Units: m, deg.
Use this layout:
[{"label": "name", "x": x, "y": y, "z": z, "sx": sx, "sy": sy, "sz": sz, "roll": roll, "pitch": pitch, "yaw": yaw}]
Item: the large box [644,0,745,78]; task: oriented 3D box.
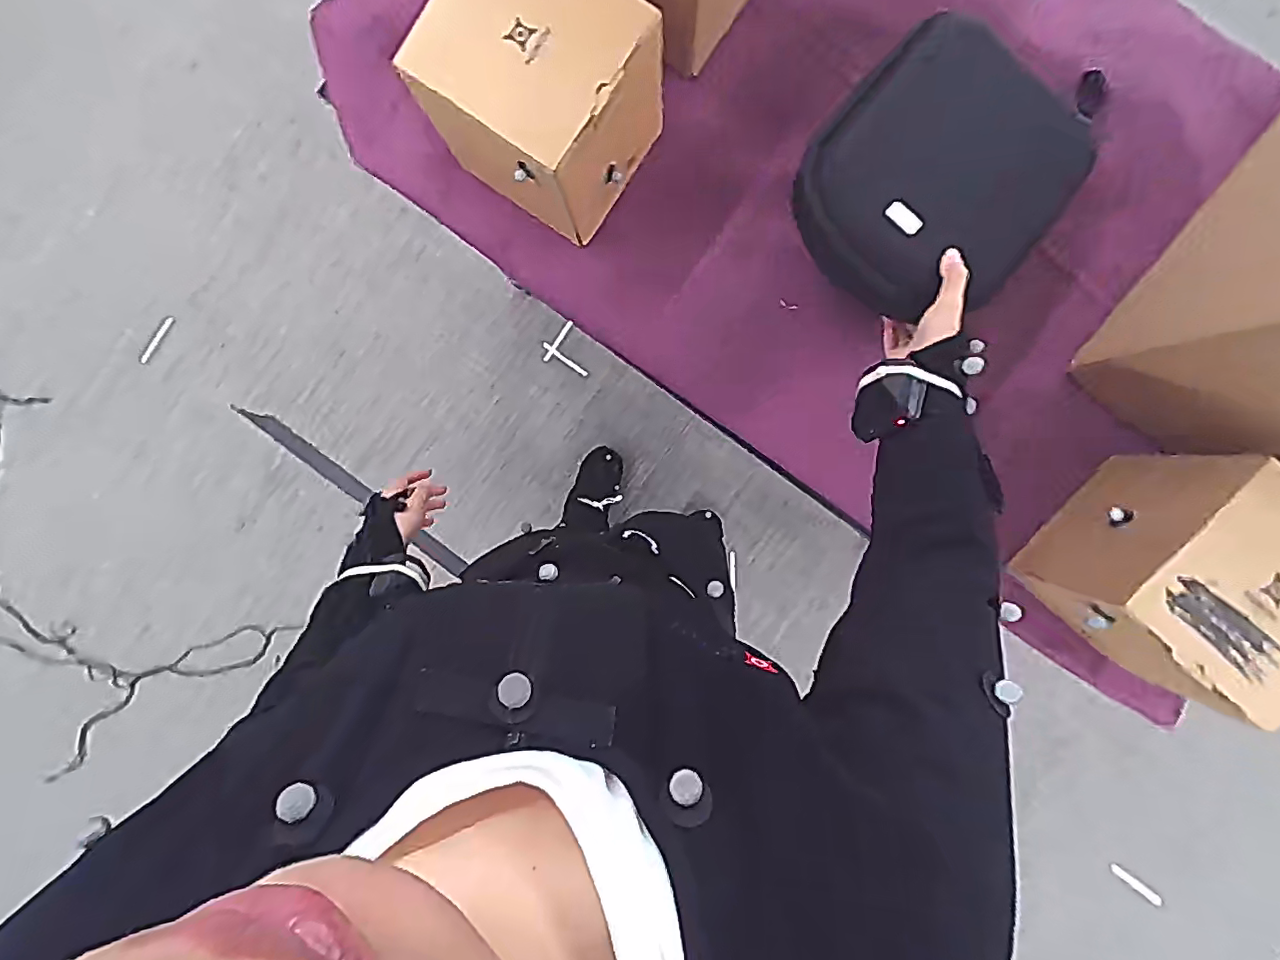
[{"label": "large box", "x": 0.042, "y": -0.691, "z": 0.454, "sx": 0.320, "sy": 0.320, "sz": 0.408, "roll": 35, "pitch": 96, "yaw": -1}]

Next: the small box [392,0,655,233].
[{"label": "small box", "x": -0.101, "y": -0.388, "z": 0.548, "sx": 0.179, "sy": 0.176, "sz": 0.168, "roll": 33, "pitch": 93, "yaw": 0}]
